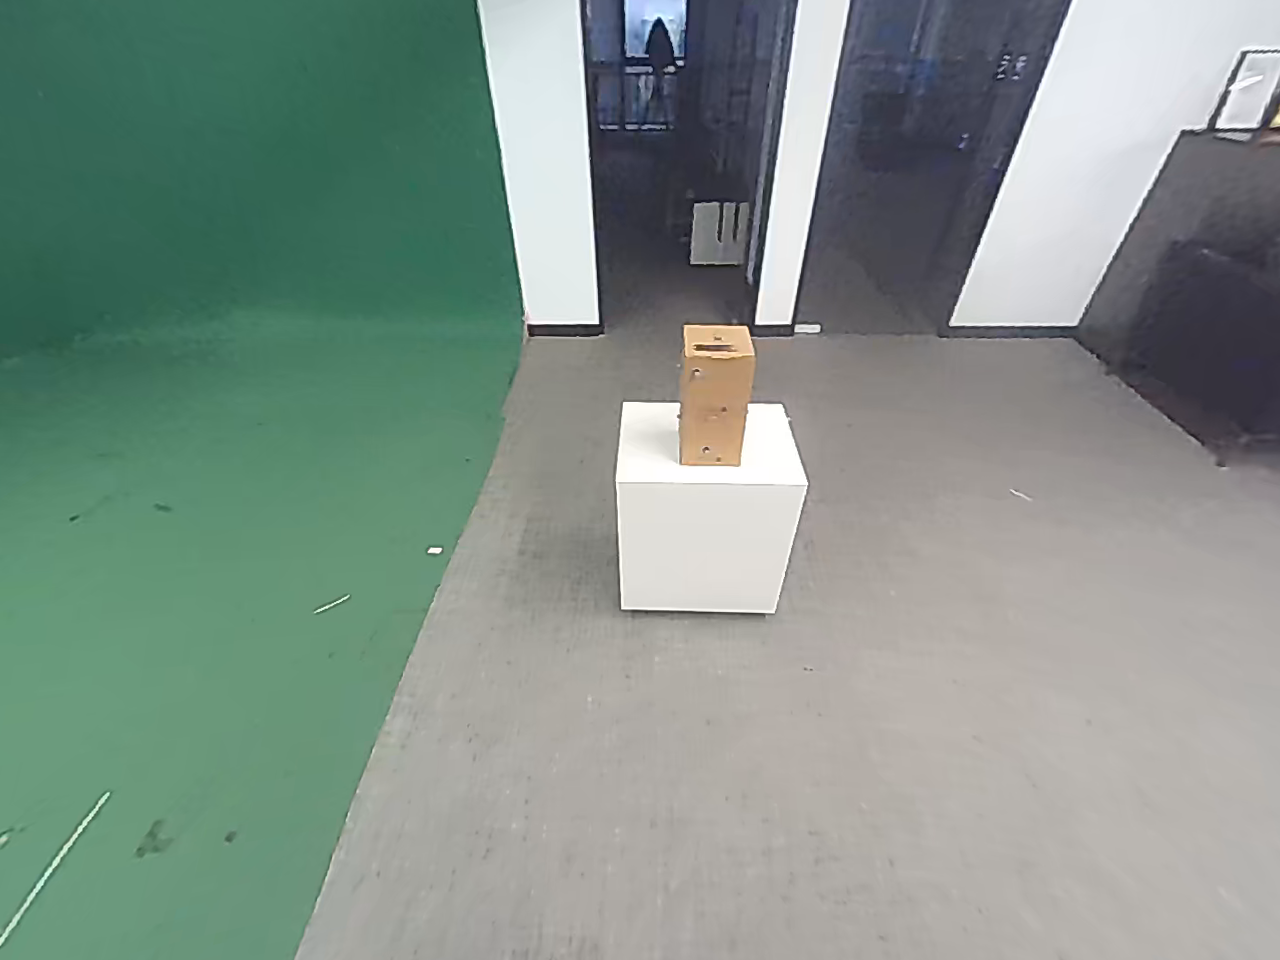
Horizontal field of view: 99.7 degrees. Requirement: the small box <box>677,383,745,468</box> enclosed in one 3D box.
[{"bbox_3d":[0.189,-0.151,1.486,0.168,0.176,0.179,1,39,2],"label":"small box"}]
